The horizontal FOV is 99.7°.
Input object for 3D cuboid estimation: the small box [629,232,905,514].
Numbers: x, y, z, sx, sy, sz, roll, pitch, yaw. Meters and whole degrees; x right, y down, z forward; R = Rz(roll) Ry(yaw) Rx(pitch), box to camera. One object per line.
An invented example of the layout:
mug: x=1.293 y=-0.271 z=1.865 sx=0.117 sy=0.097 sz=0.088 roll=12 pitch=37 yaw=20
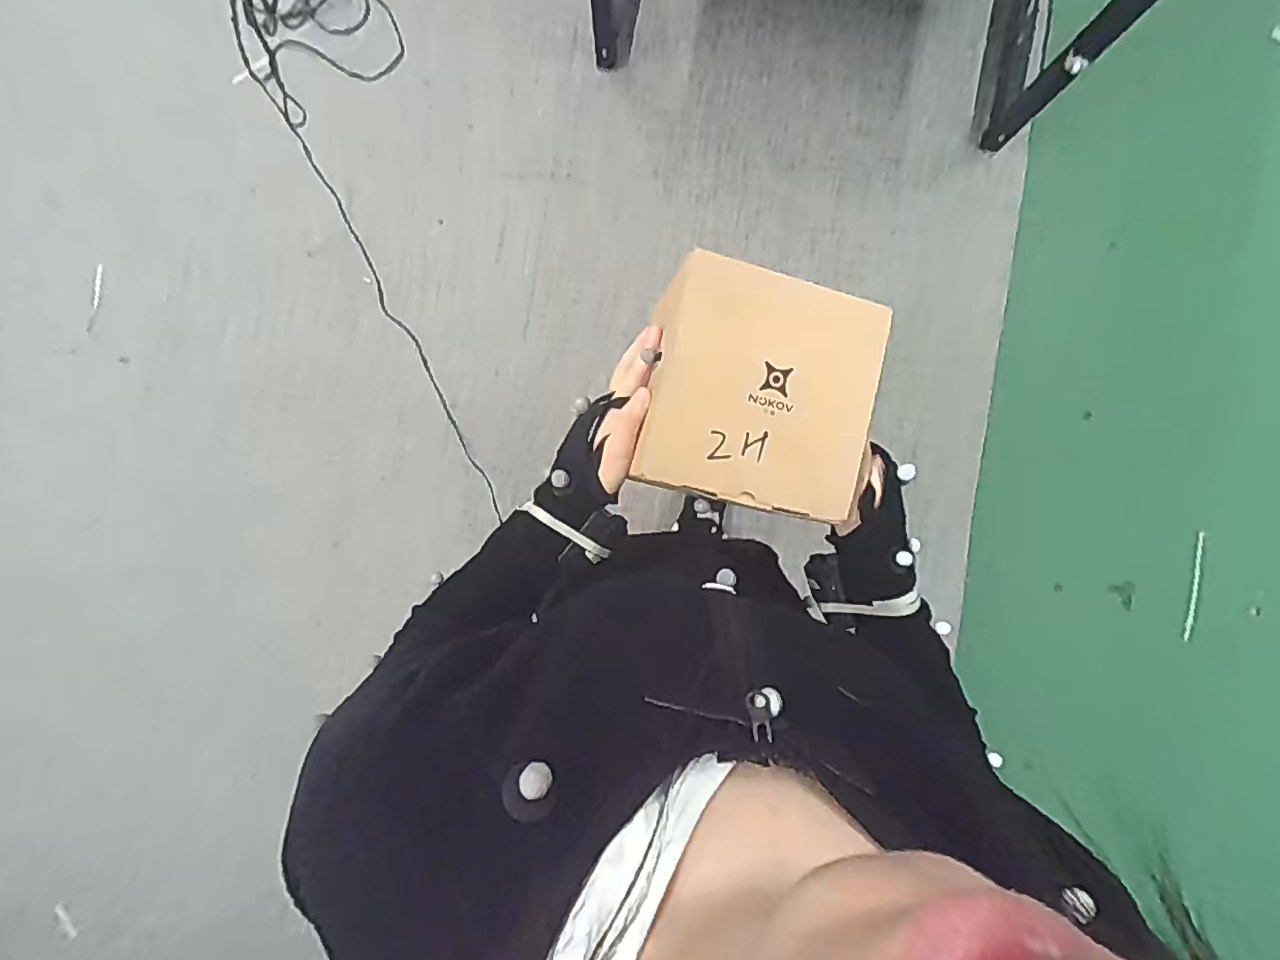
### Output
small box: x=0.093 y=-0.077 z=0.476 sx=0.168 sy=0.176 sz=0.179 roll=13 pitch=89 yaw=-9
